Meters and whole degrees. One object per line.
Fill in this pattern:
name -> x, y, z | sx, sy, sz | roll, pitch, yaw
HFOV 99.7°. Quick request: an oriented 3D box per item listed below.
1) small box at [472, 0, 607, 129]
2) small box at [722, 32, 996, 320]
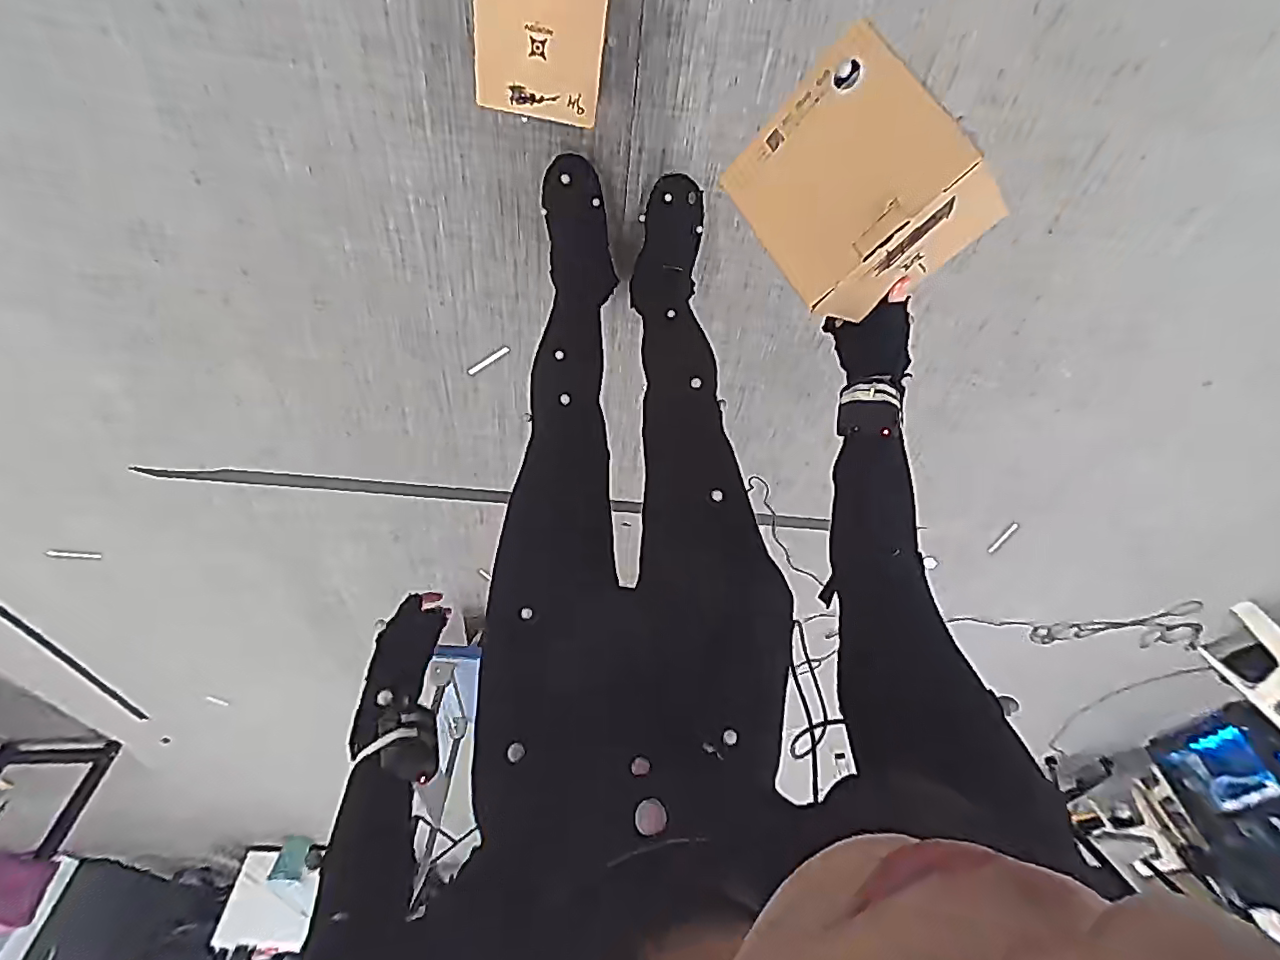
small box -> -0.136, -0.623, 0.752 | 0.168, 0.176, 0.179 | 7, 134, -9
small box -> 0.213, -0.288, 0.539 | 0.168, 0.176, 0.179 | -39, 164, 36
